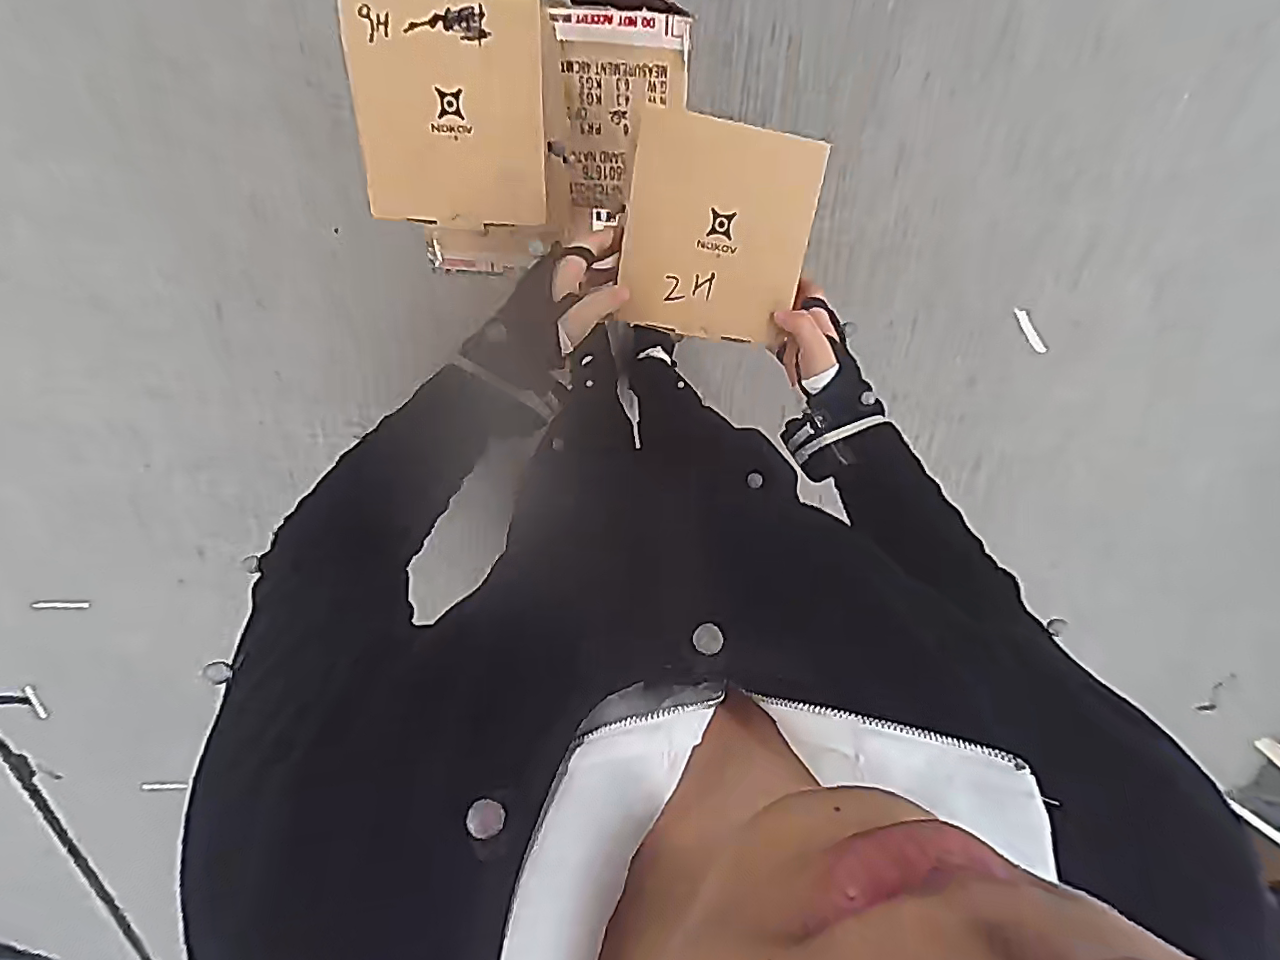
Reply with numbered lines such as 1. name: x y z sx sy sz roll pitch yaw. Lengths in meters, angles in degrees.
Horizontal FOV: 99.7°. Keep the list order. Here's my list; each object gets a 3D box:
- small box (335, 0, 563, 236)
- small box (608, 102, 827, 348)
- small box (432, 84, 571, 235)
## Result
1. small box: -0.168 -0.351 0.541 0.168 0.176 0.179 2 118 -3
2. small box: 0.060 -0.244 0.553 0.168 0.176 0.179 7 109 -8
3. small box: -0.179 -0.415 0.693 0.168 0.176 0.179 0 118 -2
